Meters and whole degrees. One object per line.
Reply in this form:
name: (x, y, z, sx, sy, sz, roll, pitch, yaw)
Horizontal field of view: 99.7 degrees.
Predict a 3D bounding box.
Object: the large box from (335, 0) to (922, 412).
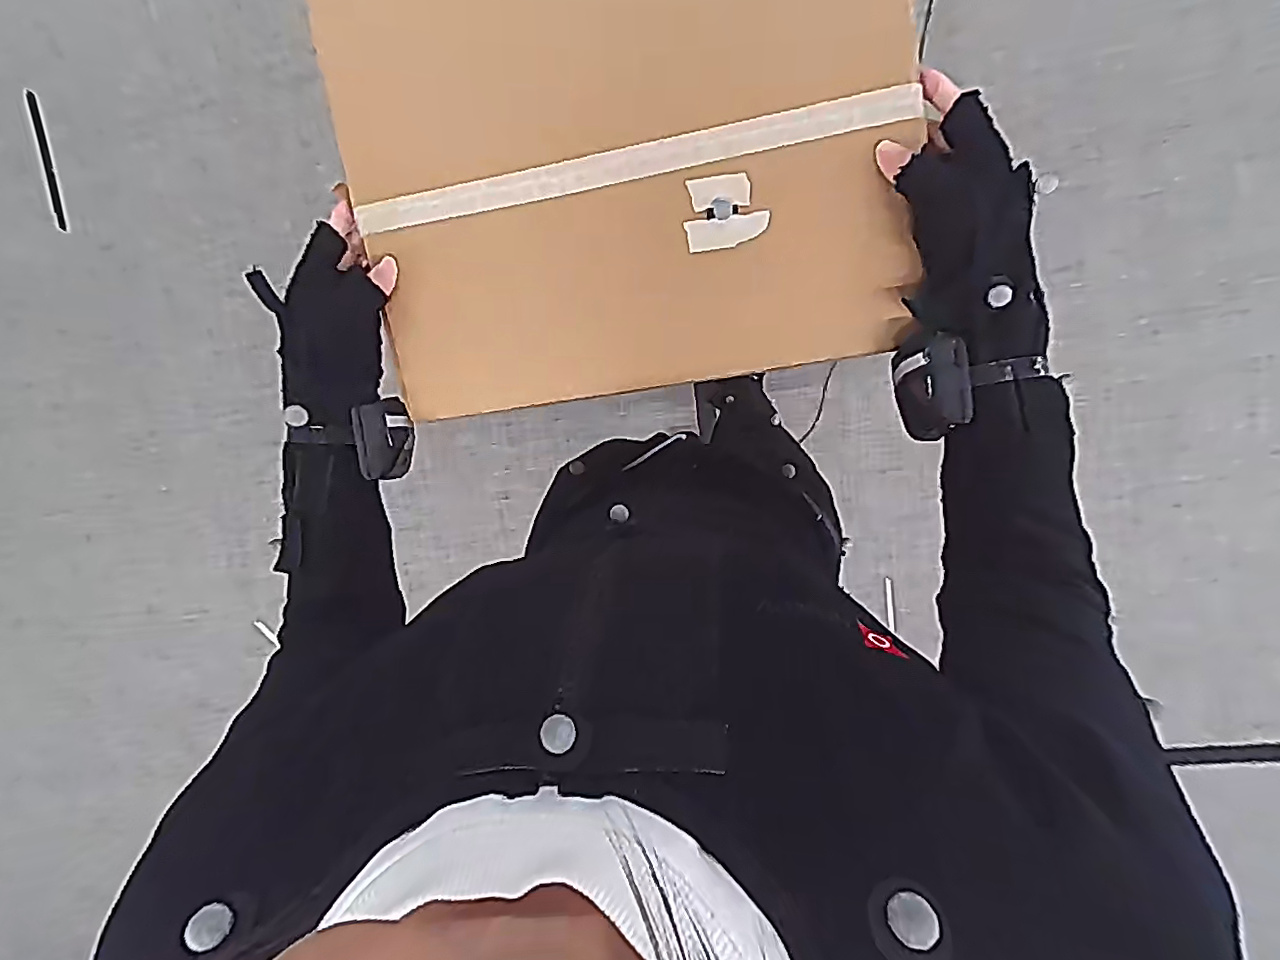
large box: (0.005, -0.263, 0.544, 0.408, 0.320, 0.320, -8, 102, 8)
